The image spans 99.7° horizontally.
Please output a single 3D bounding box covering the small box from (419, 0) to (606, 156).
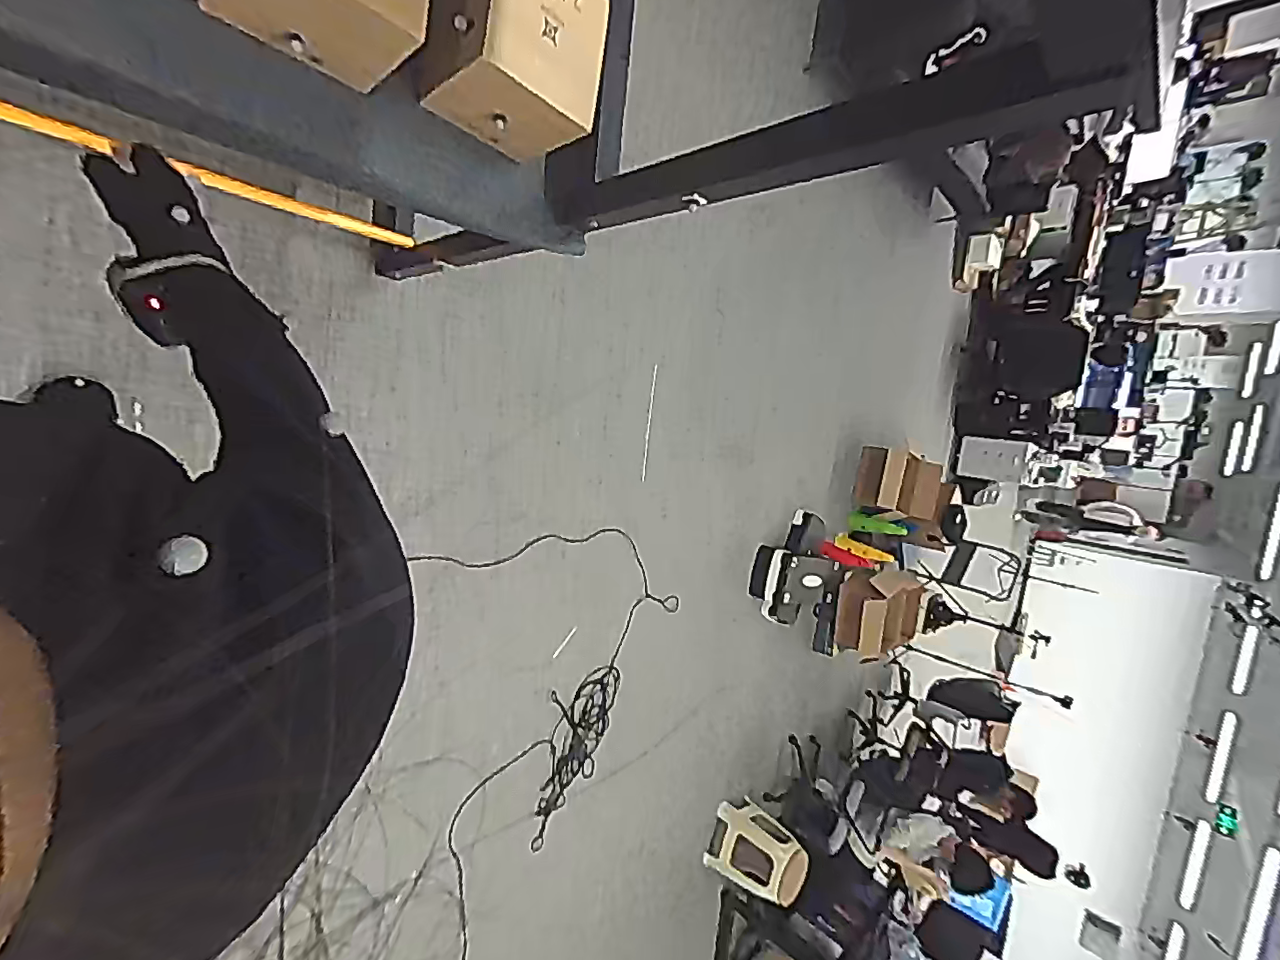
[{"bbox_3d":[-0.171,-0.566,0.712,0.168,0.176,0.179,6,94,-47],"label":"small box"}]
